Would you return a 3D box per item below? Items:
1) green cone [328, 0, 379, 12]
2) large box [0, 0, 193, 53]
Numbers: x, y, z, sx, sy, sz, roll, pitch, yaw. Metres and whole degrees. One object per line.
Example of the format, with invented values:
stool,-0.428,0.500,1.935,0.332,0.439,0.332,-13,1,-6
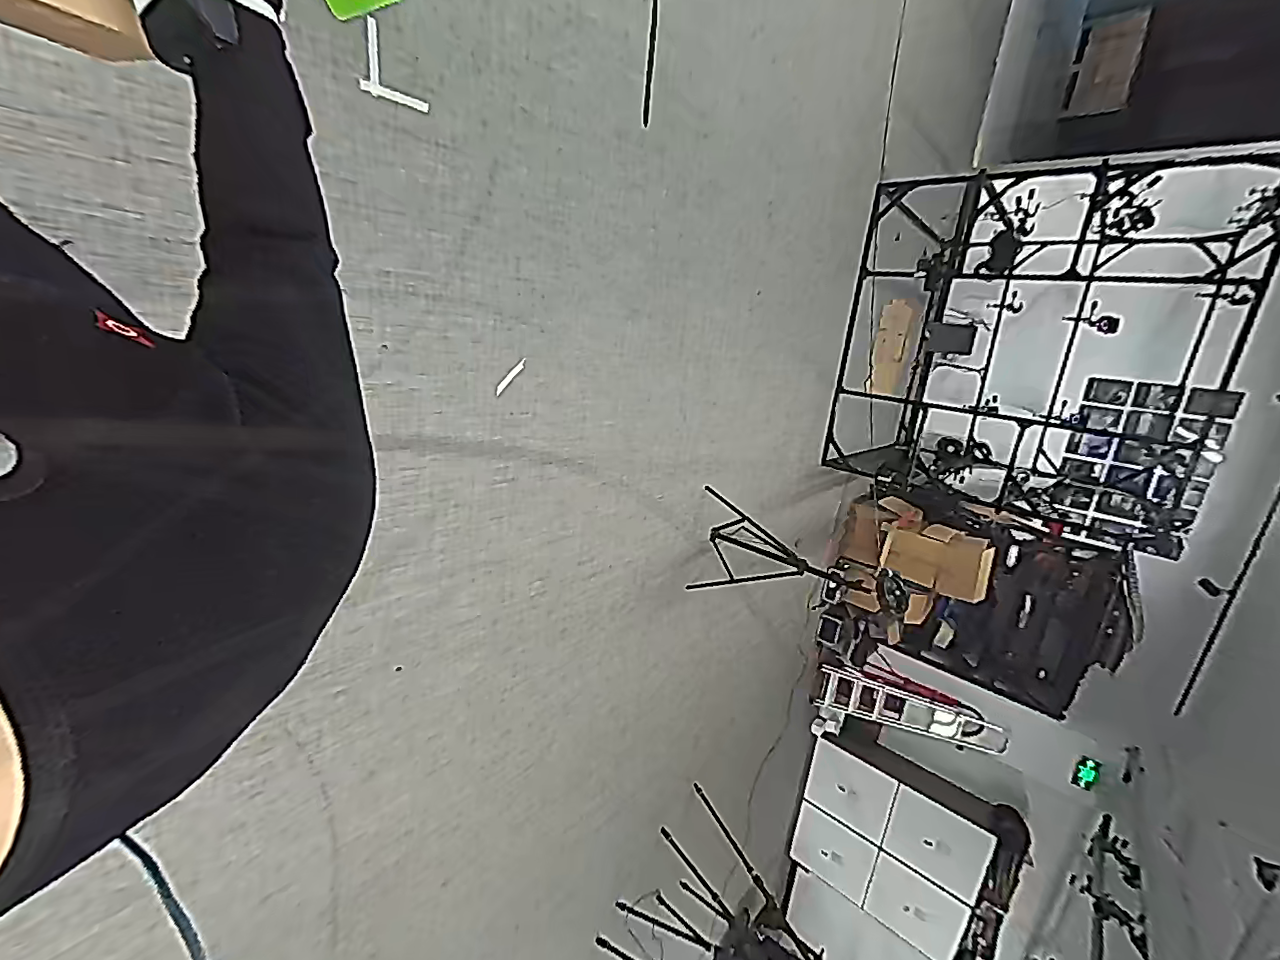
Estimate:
green cone,-0.518,-1.125,1.082,0.202,0.368,0.200,-51,139,-27
large box,-0.535,-0.500,0.284,0.408,0.320,0.320,-10,123,-51
